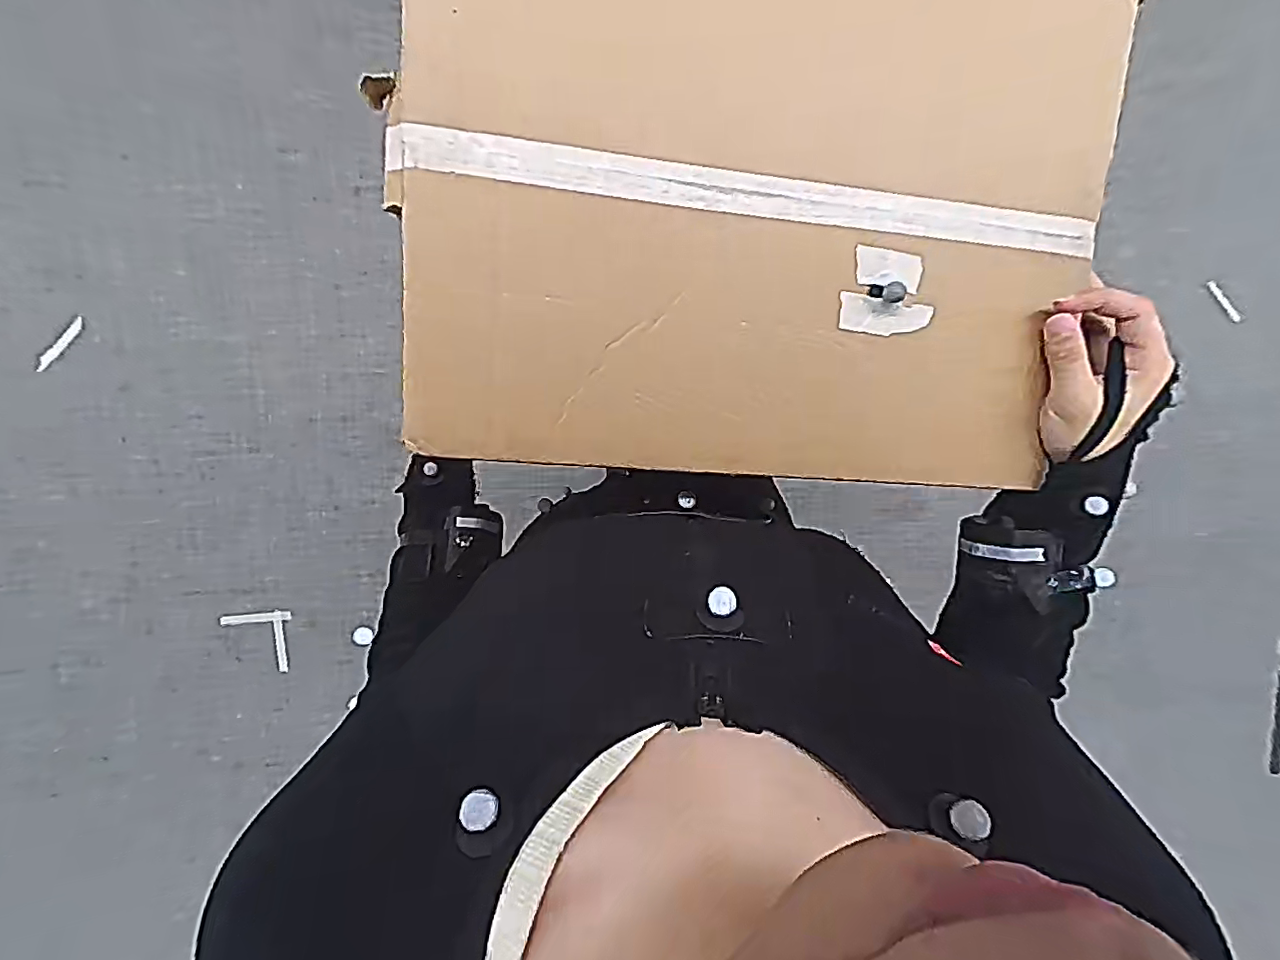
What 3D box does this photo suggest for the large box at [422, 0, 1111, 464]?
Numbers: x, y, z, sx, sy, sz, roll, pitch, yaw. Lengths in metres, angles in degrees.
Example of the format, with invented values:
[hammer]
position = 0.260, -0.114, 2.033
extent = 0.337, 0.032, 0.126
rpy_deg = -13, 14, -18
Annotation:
[large box]
position = 0.056, -0.191, 0.457
extent = 0.408, 0.320, 0.320
rpy_deg = 3, 100, -11
